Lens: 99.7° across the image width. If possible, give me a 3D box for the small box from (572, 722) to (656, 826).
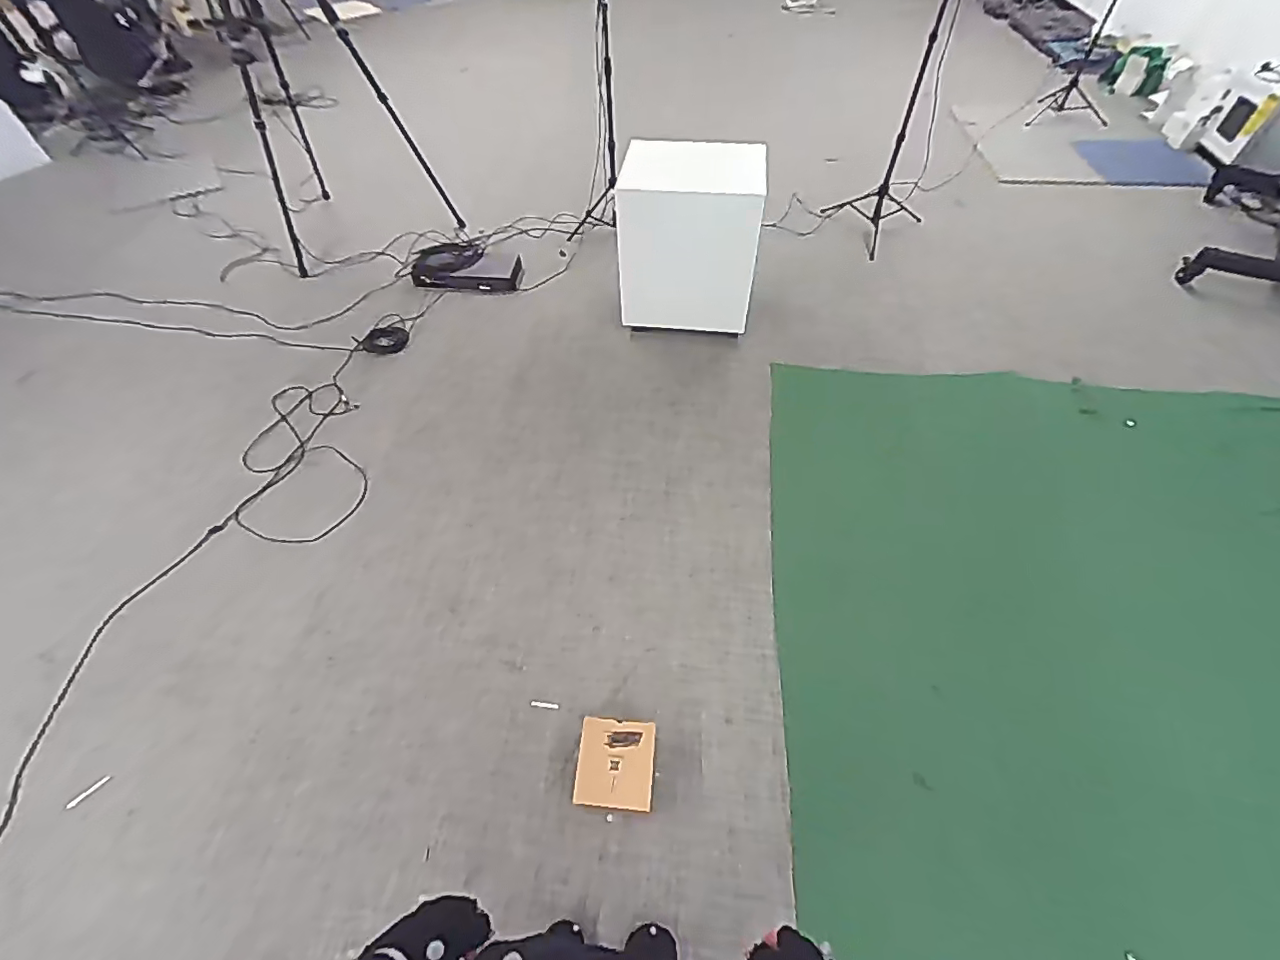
[{"bbox_3d":[-0.053,0.670,1.227,0.168,0.176,0.179,4,54,3],"label":"small box"}]
